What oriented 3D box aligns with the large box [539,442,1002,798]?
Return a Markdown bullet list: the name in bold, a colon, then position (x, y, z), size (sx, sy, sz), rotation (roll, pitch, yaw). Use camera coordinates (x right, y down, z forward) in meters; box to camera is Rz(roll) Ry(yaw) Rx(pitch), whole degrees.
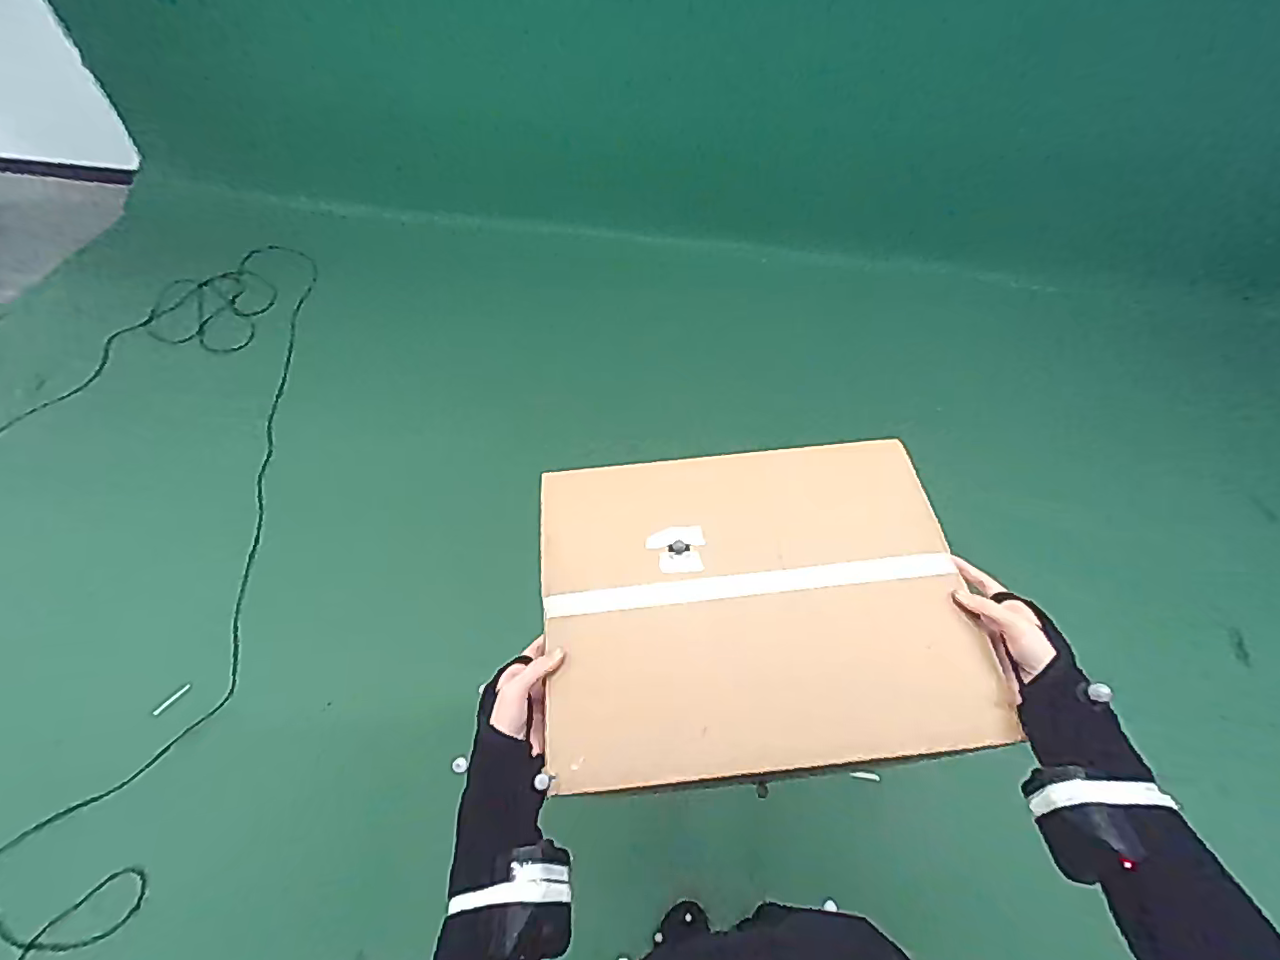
- **large box**: position (0.110, 0.188, 0.665), size (0.408, 0.320, 0.320), rotation (-7, 58, -1)
